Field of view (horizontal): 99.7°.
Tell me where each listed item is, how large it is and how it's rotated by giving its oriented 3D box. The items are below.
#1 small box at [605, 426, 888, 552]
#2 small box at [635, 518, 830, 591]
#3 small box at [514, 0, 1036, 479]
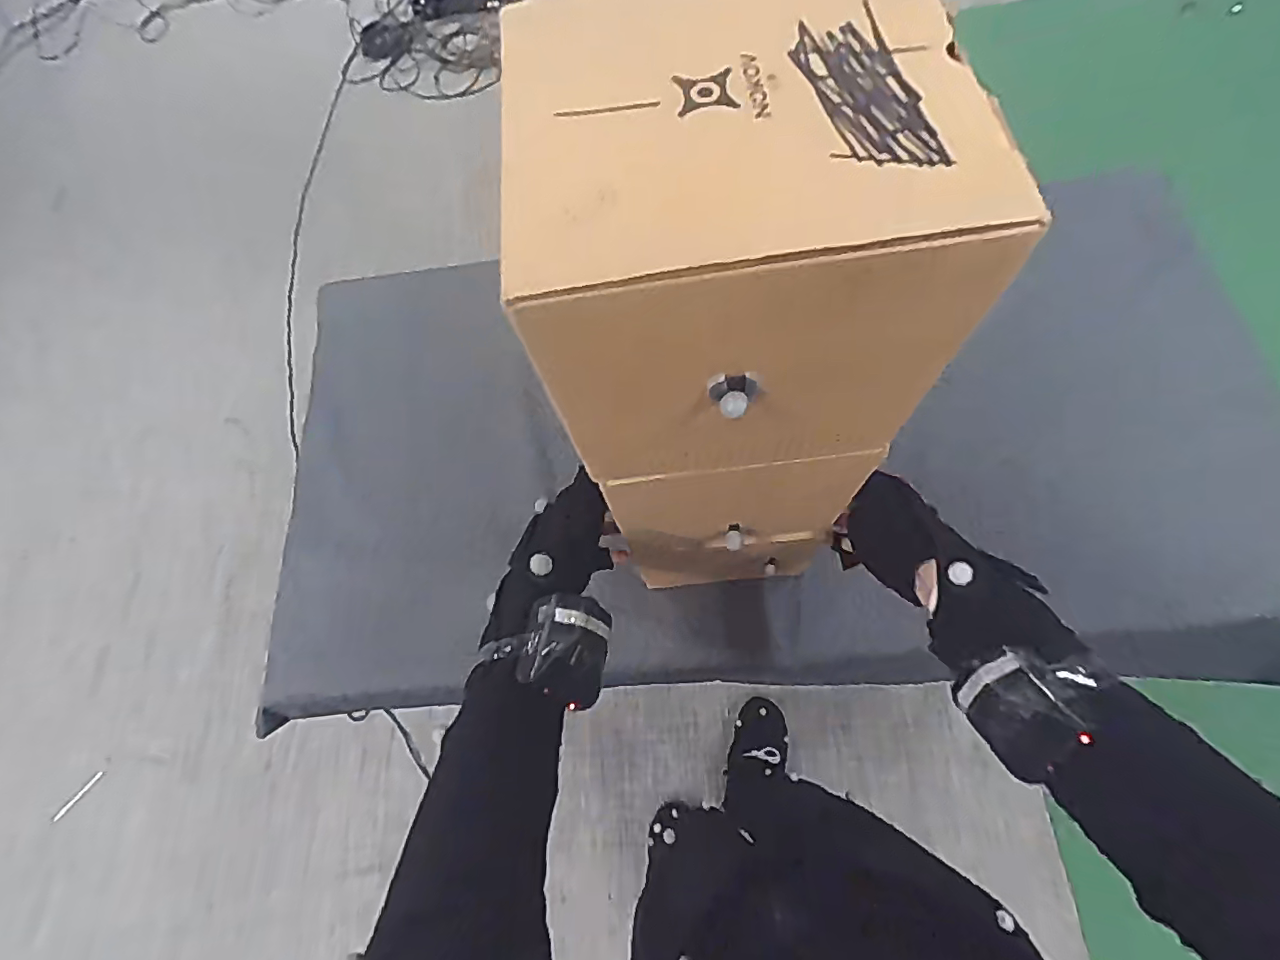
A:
[{"bbox_3d":[0.064,-0.049,0.432,0.179,0.176,0.168,-7,66,3],"label":"small box"},{"bbox_3d":[0.084,0.017,0.582,0.179,0.176,0.168,-8,67,5],"label":"small box"},{"bbox_3d":[0.045,-0.111,0.281,0.179,0.176,0.168,-7,67,4],"label":"small box"}]
